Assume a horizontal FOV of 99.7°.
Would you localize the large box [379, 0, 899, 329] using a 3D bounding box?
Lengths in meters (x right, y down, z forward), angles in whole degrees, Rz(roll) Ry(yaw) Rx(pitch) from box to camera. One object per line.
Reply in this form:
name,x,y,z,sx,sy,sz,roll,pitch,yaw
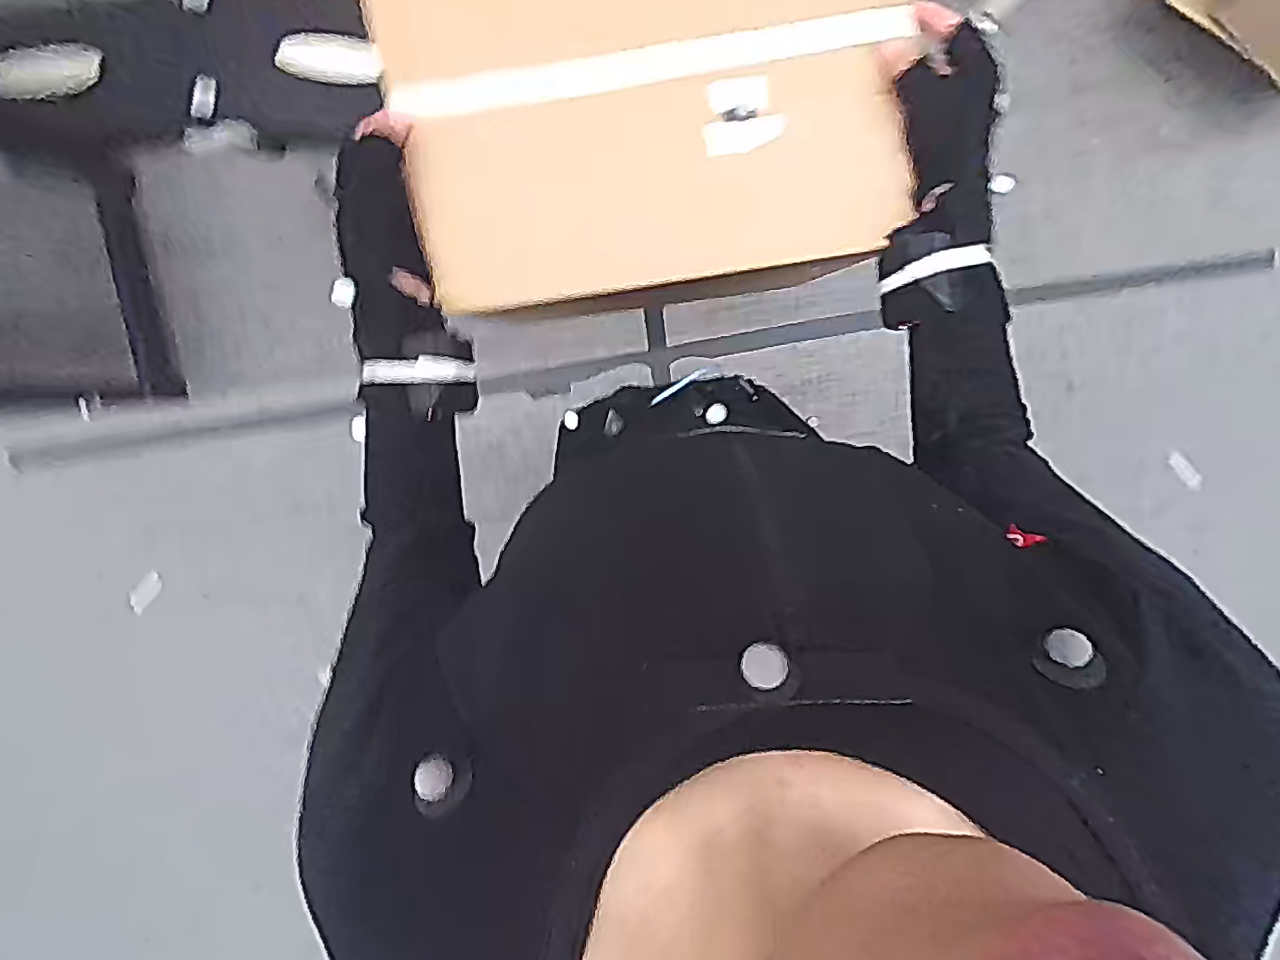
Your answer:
large box,0.002,-0.355,0.581,0.408,0.320,0.320,-8,104,1
